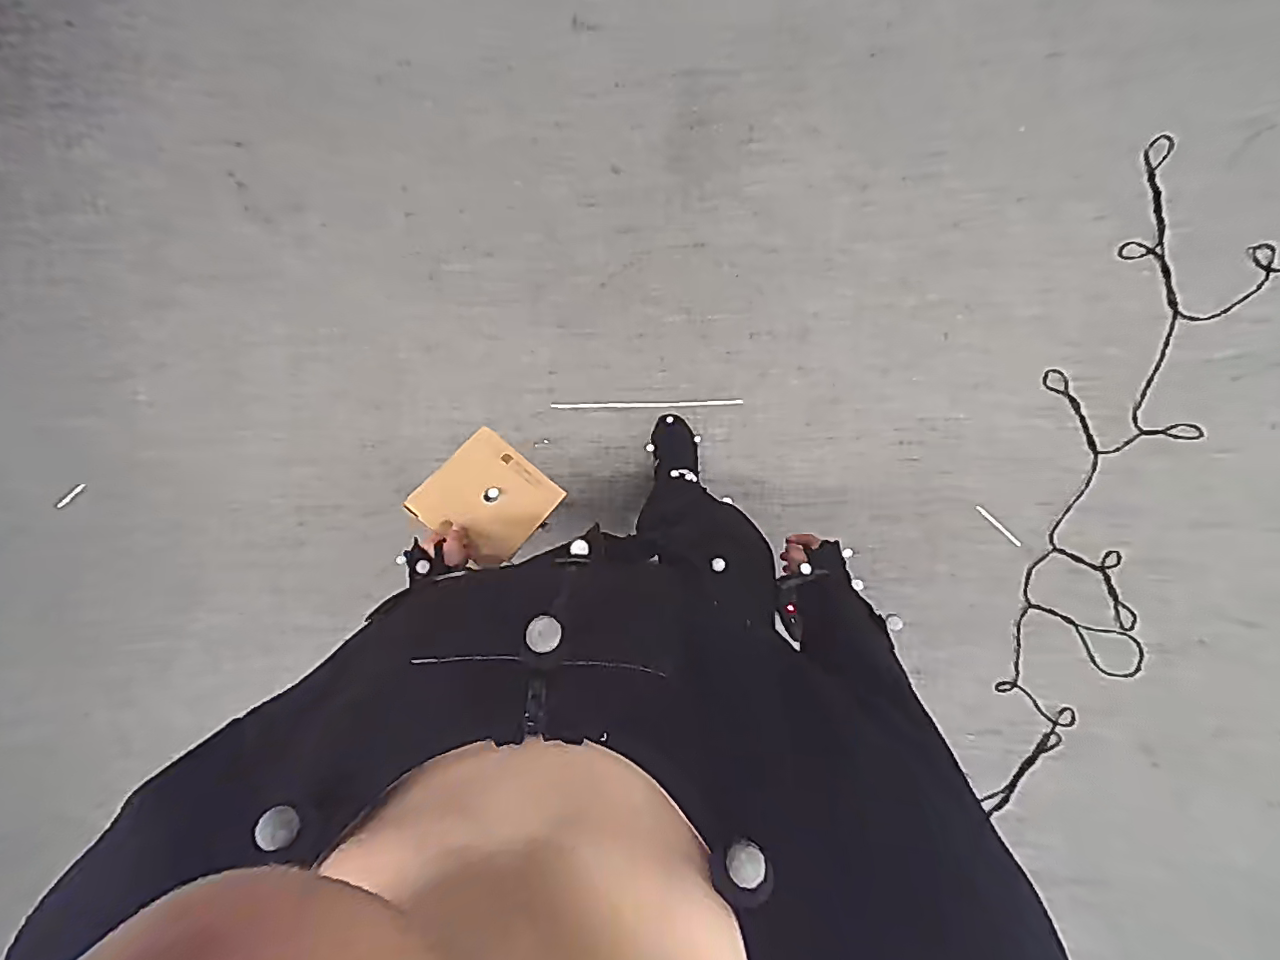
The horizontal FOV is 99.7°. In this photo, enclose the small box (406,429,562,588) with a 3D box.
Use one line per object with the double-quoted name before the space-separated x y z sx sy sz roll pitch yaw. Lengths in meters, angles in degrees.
"small box" -0.247 0.047 0.864 0.168 0.179 0.176 40 63 -5
